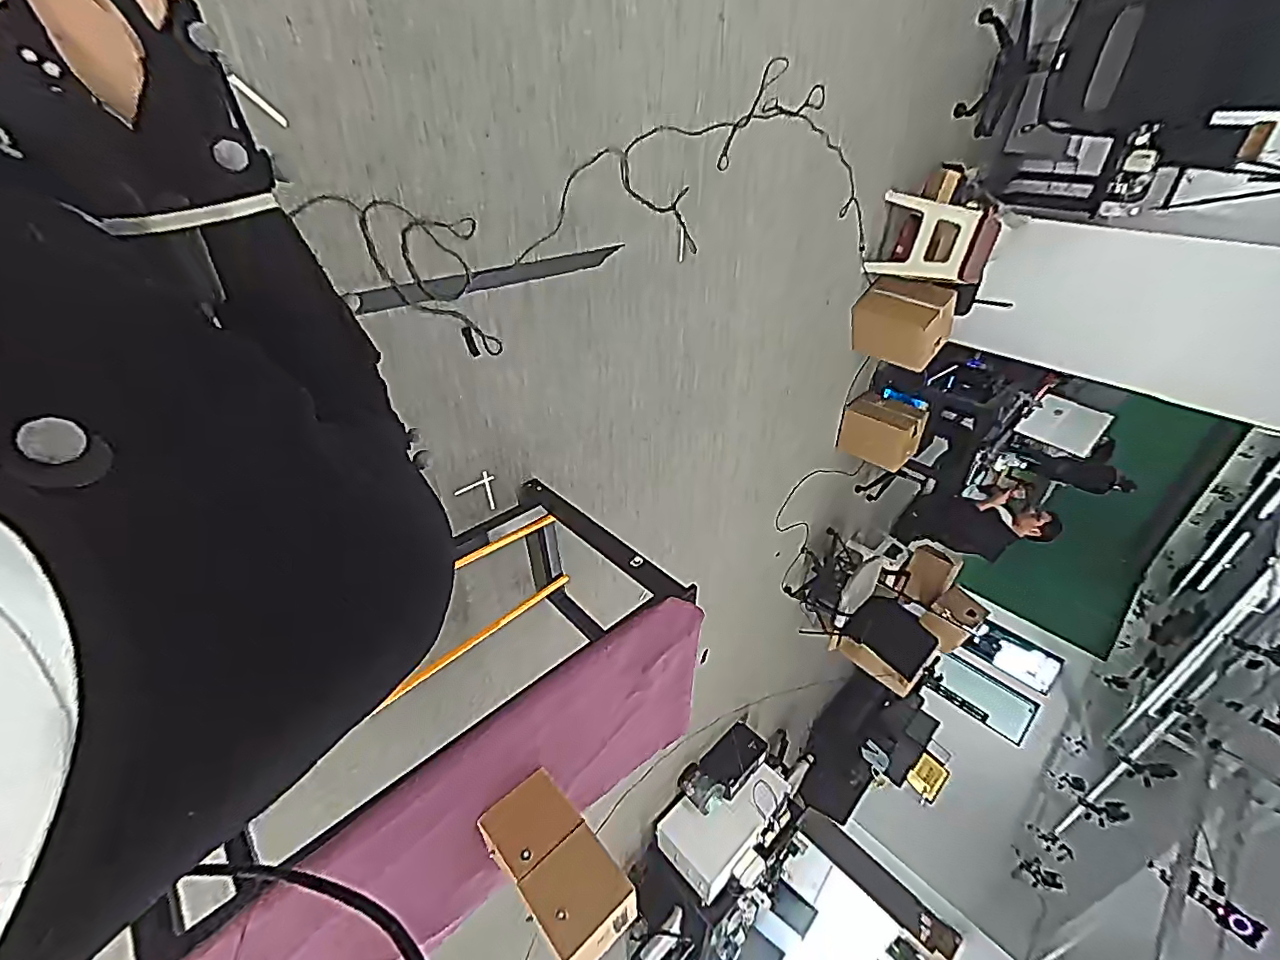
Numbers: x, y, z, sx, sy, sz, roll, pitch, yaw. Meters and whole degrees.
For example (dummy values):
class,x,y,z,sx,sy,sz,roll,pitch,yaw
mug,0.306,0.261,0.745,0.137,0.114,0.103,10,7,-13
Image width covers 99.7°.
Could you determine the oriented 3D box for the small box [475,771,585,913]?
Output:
class,x,y,z,sx,sy,sz,roll,pitch,yaw
small box,-0.245,0.805,1.220,0.179,0.176,0.168,-28,134,-34
